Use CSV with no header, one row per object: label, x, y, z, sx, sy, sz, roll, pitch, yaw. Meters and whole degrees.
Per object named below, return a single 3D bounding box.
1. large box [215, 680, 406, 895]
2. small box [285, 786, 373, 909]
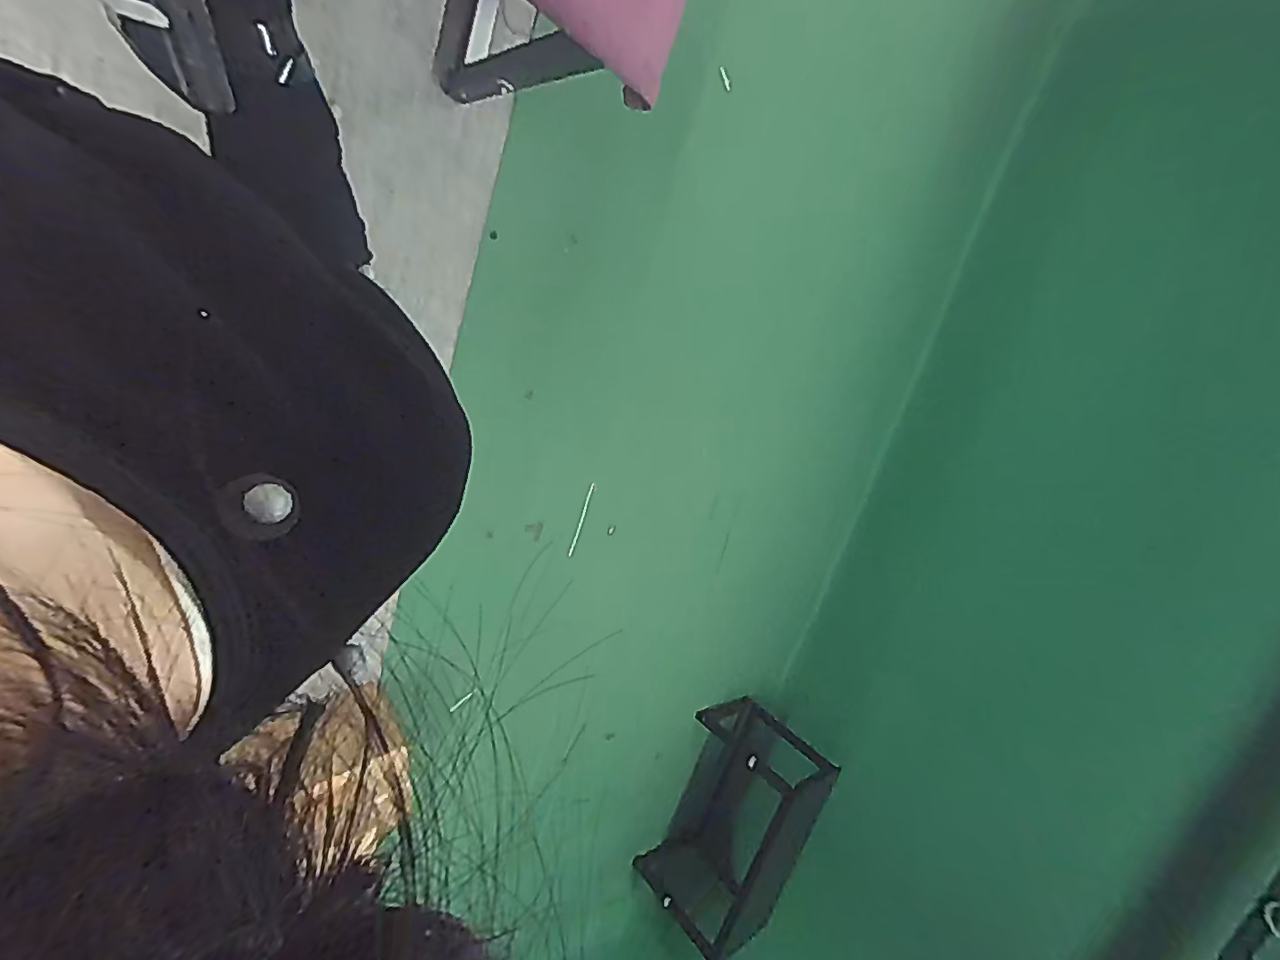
large box,-0.955,0.868,1.589,0.408,0.320,0.320,-13,121,-42
small box,-0.807,0.932,1.397,0.168,0.176,0.179,-5,114,-42
